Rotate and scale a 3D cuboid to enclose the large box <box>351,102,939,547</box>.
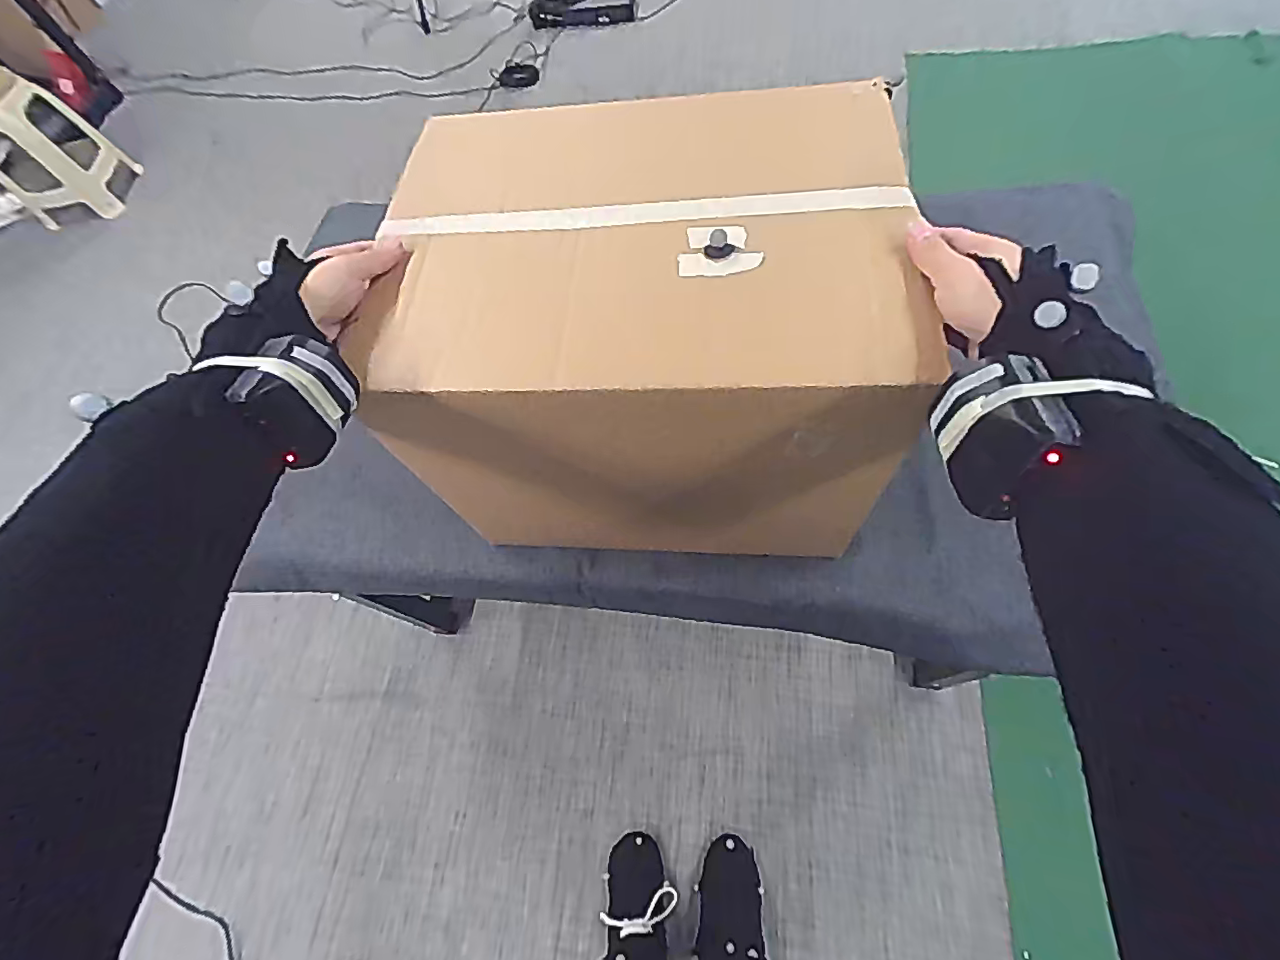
[{"bbox_3d":[0.013,-0.127,0.557,0.408,0.320,0.320,1,63,7],"label":"large box"}]
